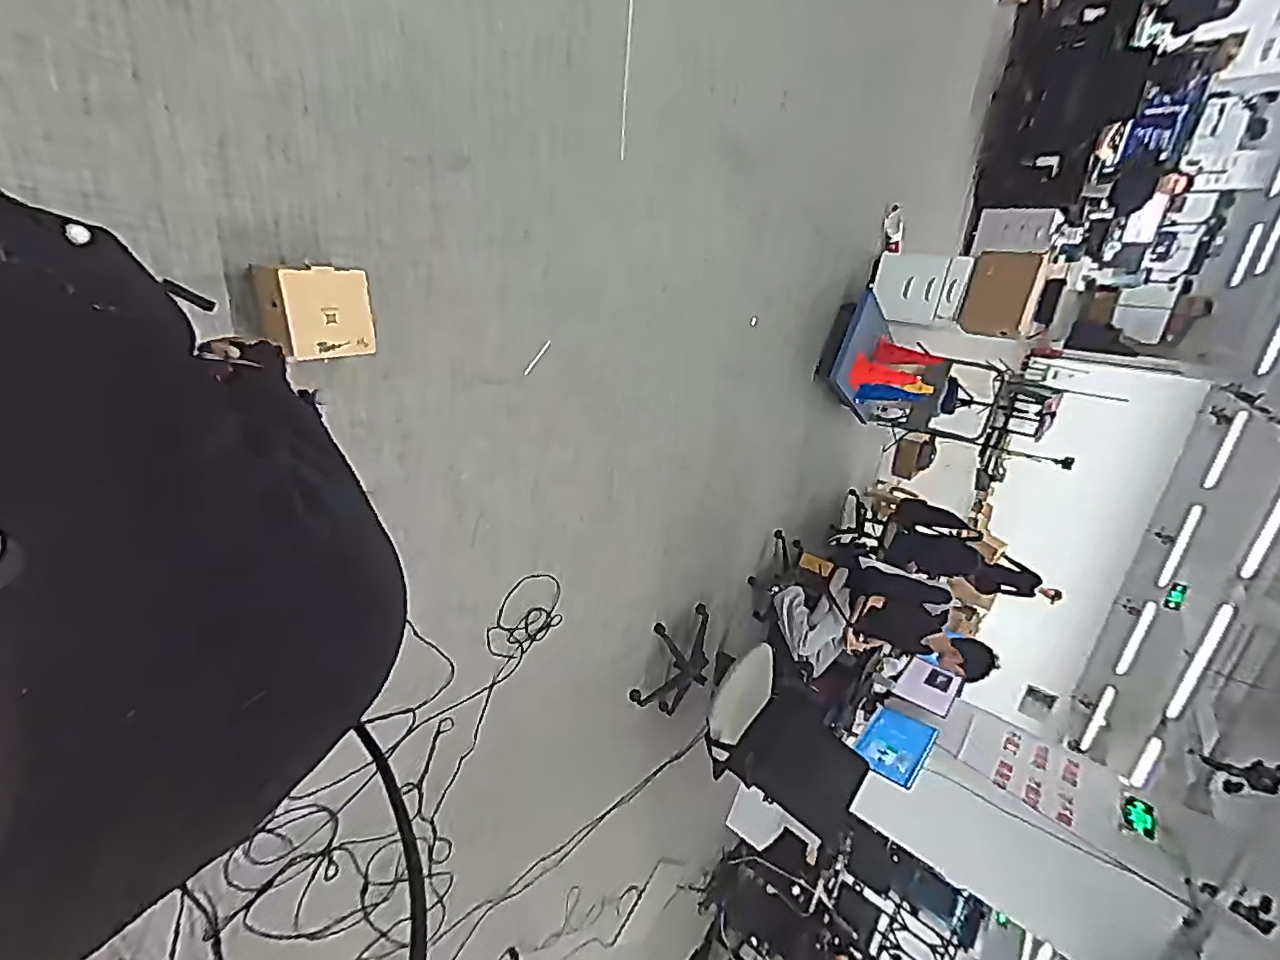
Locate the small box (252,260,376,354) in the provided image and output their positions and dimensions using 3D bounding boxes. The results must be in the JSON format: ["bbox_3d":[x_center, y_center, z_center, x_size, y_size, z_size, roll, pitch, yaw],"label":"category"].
[{"bbox_3d":[-0.694,-0.374,1.152,0.168,0.176,0.179,-22,122,-44],"label":"small box"}]
